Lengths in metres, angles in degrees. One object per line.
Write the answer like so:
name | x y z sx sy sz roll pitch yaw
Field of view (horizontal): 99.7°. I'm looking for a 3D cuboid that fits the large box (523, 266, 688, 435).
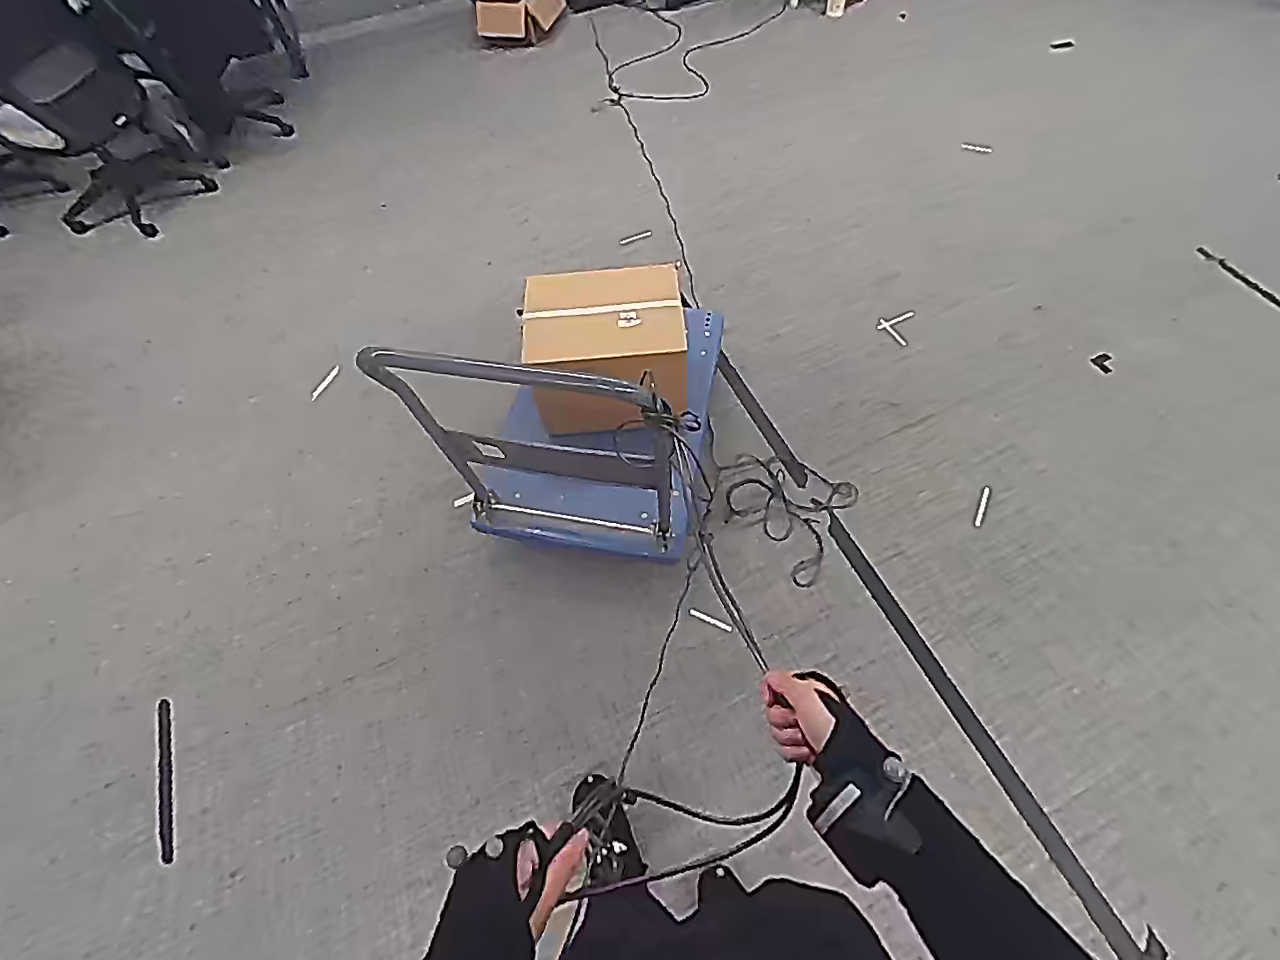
large box | -0.088 -0.345 1.487 0.408 0.320 0.320 -4 61 1
